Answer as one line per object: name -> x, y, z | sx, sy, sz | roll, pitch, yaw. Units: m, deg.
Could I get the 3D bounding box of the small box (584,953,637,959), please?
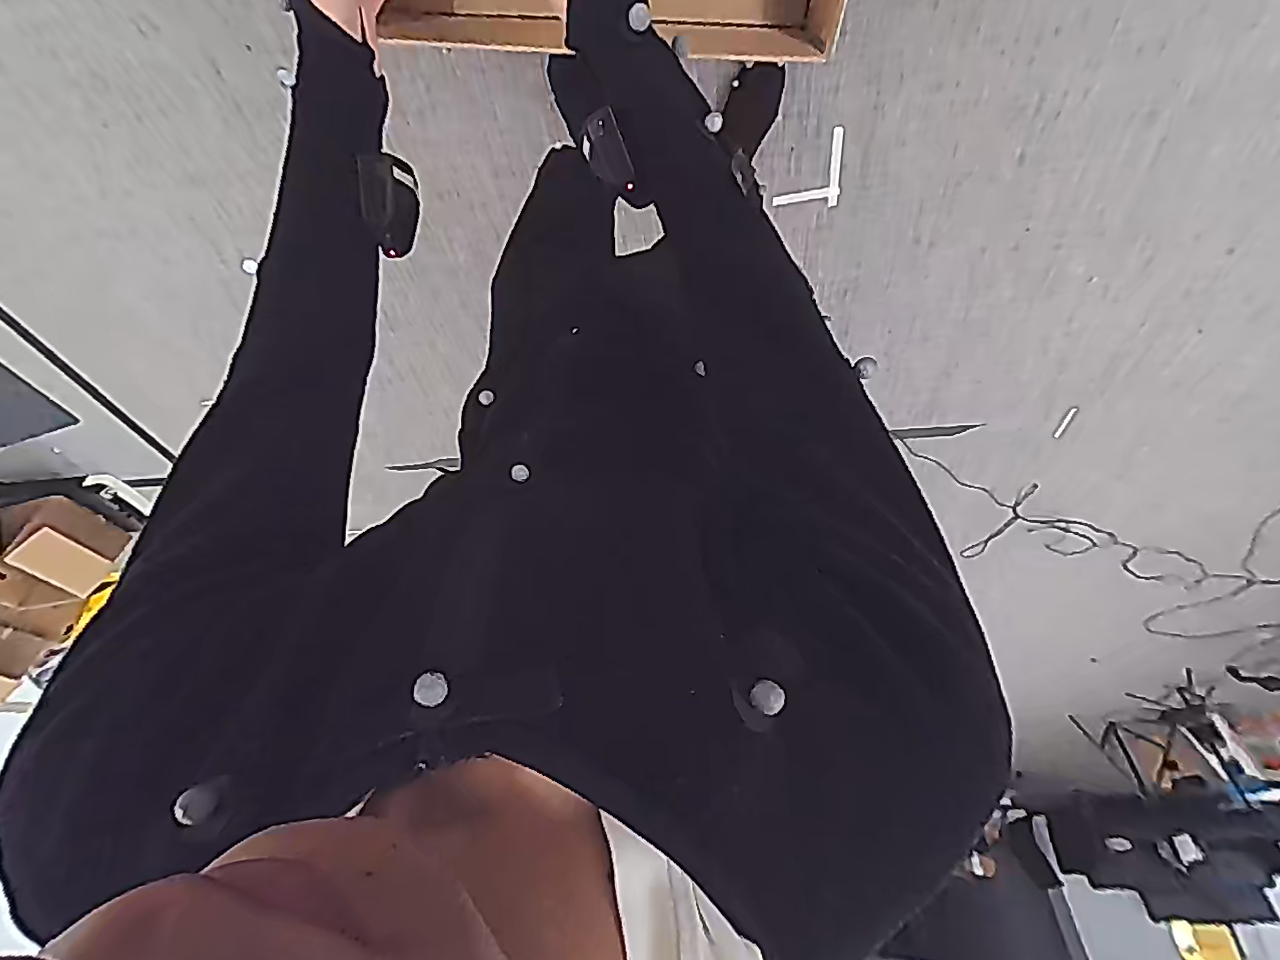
small box -> -0.104, 1.745, 1.857 | 0.168, 0.176, 0.179 | -6, 141, 9

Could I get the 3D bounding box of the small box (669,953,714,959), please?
small box -> 0.201, 1.915, 2.056 | 0.168, 0.176, 0.179 | -5, 140, 7
